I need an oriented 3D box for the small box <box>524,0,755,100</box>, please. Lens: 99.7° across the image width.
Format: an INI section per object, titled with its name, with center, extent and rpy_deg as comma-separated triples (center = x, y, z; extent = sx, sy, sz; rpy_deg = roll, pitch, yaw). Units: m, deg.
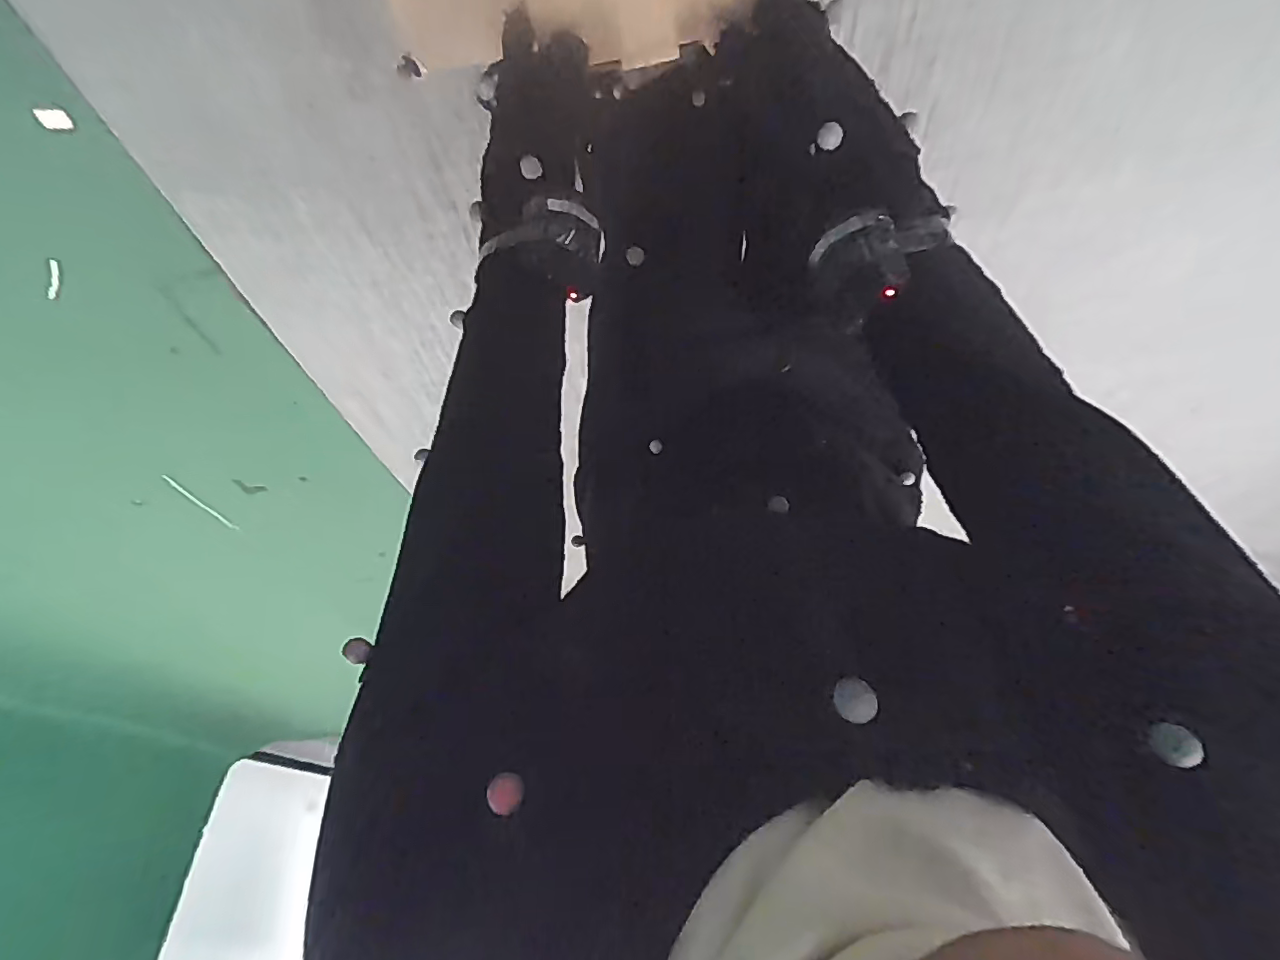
[small box]
center = -0.005, -0.426, 0.417
extent = 0.168, 0.176, 0.179
rpy_deg = -7, 131, 9
